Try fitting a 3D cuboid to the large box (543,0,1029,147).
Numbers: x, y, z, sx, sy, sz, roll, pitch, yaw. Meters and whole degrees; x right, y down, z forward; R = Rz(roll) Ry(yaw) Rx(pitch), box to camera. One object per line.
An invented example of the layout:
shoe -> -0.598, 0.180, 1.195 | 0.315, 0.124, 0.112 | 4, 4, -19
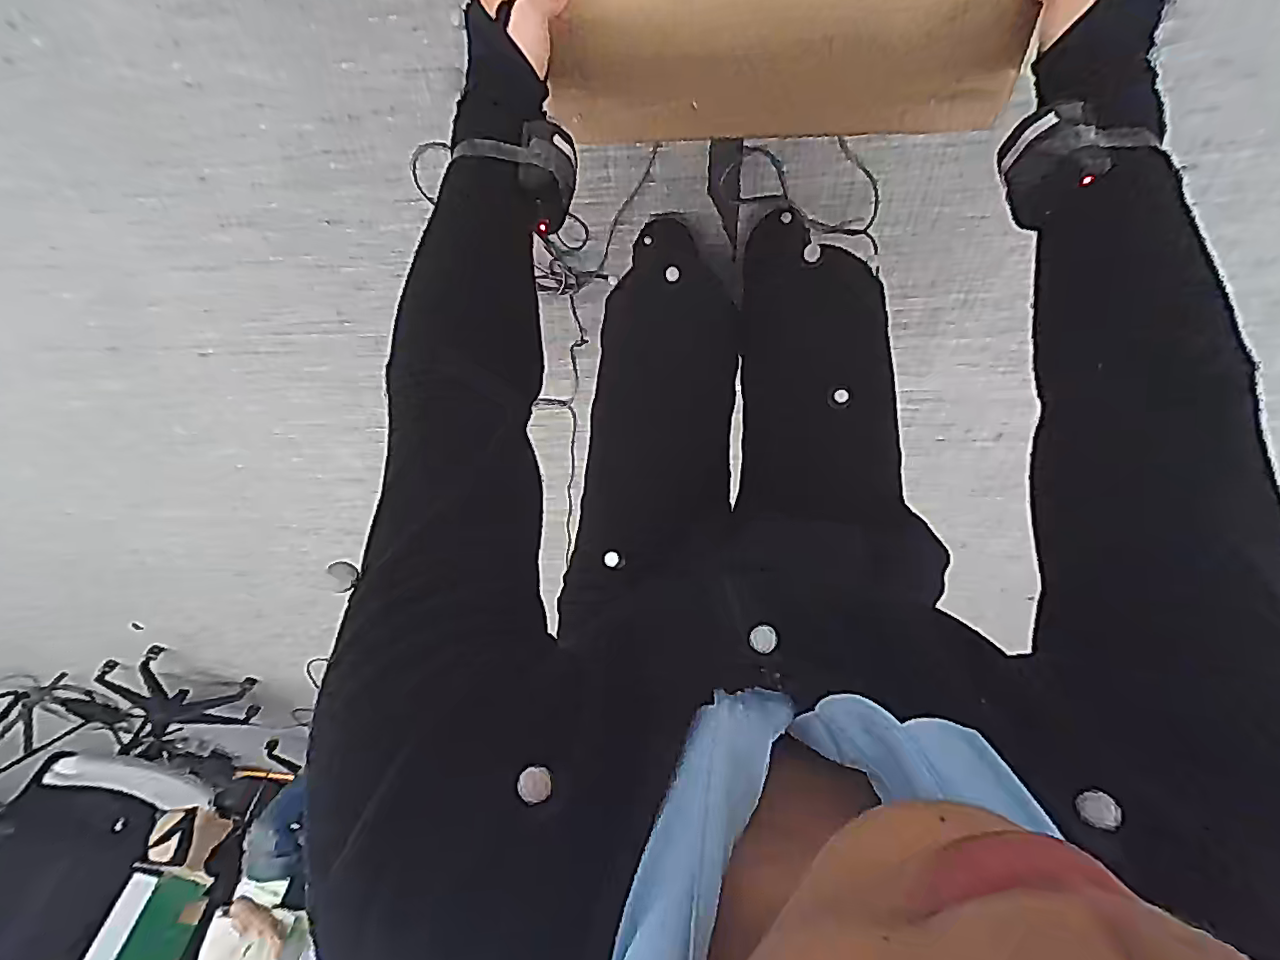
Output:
large box -> 0.128, -0.540, 0.515 | 0.408, 0.320, 0.320 | 2, 133, 7
